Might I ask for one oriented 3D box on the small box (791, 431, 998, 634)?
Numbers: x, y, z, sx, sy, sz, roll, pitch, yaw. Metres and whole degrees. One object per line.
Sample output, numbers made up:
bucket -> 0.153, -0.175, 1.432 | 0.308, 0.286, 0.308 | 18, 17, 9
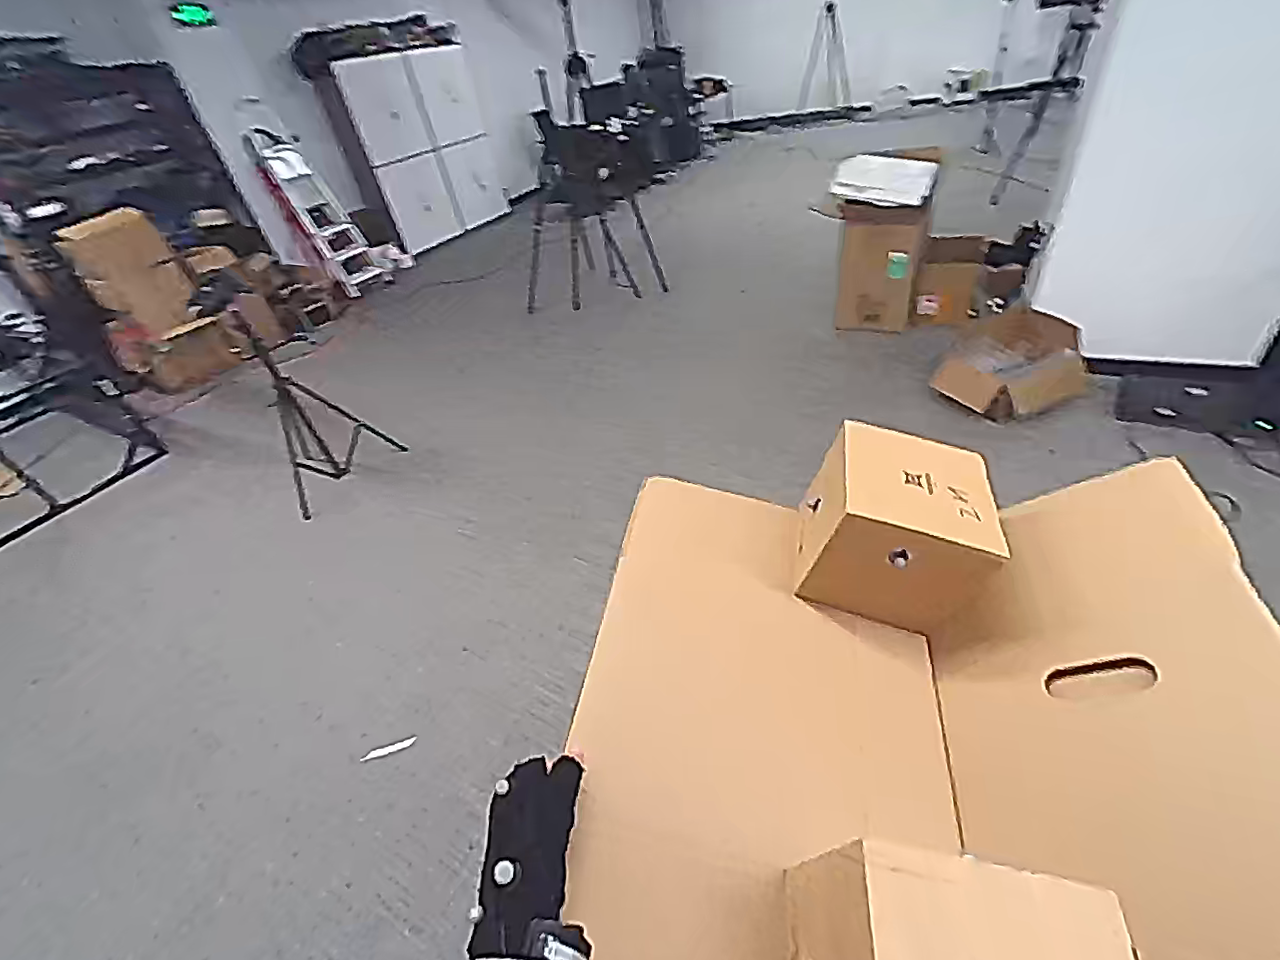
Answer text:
small box -> 0.303, 0.069, 0.683 | 0.179, 0.176, 0.168 | 17, 46, 5
